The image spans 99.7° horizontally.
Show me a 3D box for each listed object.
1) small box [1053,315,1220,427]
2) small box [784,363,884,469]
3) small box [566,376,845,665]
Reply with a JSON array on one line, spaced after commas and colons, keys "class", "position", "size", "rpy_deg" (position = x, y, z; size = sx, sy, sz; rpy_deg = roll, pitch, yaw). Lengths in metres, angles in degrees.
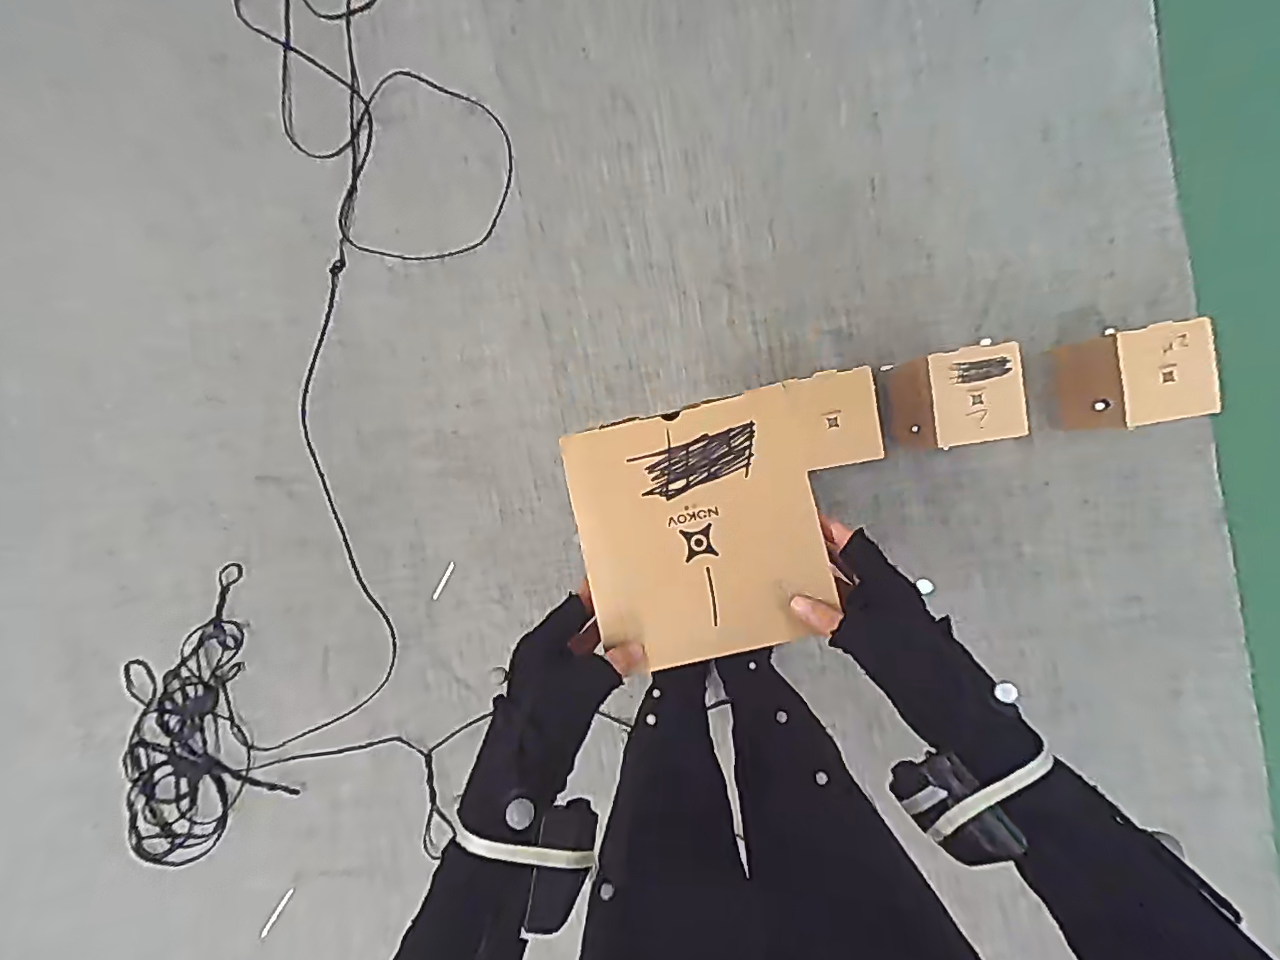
[{"class": "small box", "position": [0.944, -0.200, 1.043], "size": [0.168, 0.176, 0.179], "rpy_deg": [-10, 92, 3]}, {"class": "small box", "position": [0.360, -0.121, 1.073], "size": [0.168, 0.176, 0.179], "rpy_deg": [-10, 92, 4]}, {"class": "small box", "position": [0.046, 0.033, 0.453], "size": [0.168, 0.176, 0.179], "rpy_deg": [-13, 86, 3]}]
